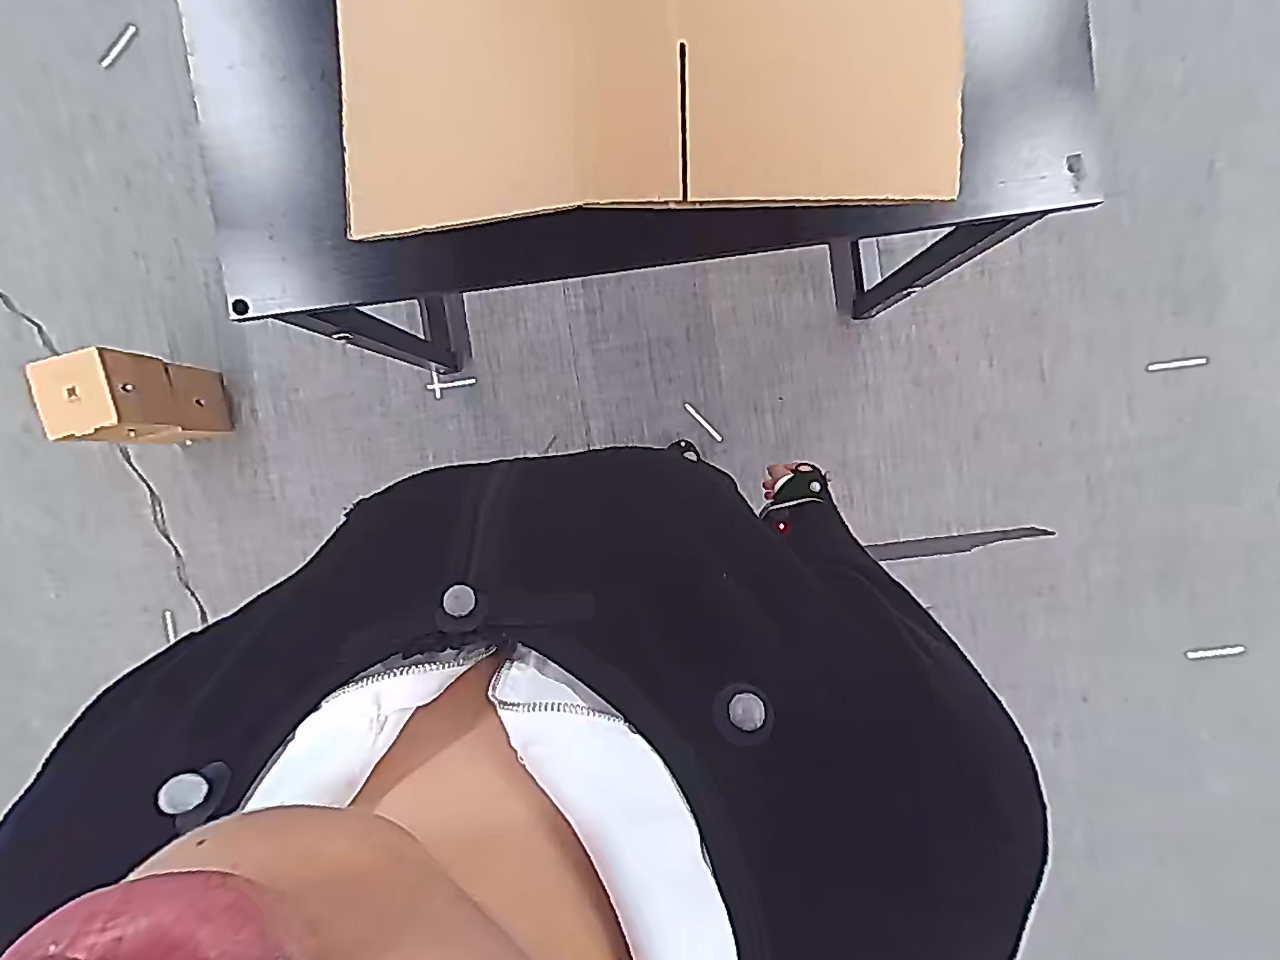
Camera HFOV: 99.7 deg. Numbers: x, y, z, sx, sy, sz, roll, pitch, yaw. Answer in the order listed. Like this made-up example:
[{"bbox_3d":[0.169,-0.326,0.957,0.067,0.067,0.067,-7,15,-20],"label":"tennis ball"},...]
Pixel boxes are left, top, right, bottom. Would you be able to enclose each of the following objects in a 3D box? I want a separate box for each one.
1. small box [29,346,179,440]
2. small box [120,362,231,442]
[{"bbox_3d":[-1.234,-0.195,1.259,0.168,0.176,0.179,-14,92,1],"label":"small box"},{"bbox_3d":[-1.228,-0.198,1.422,0.168,0.176,0.179,-11,94,2],"label":"small box"}]
